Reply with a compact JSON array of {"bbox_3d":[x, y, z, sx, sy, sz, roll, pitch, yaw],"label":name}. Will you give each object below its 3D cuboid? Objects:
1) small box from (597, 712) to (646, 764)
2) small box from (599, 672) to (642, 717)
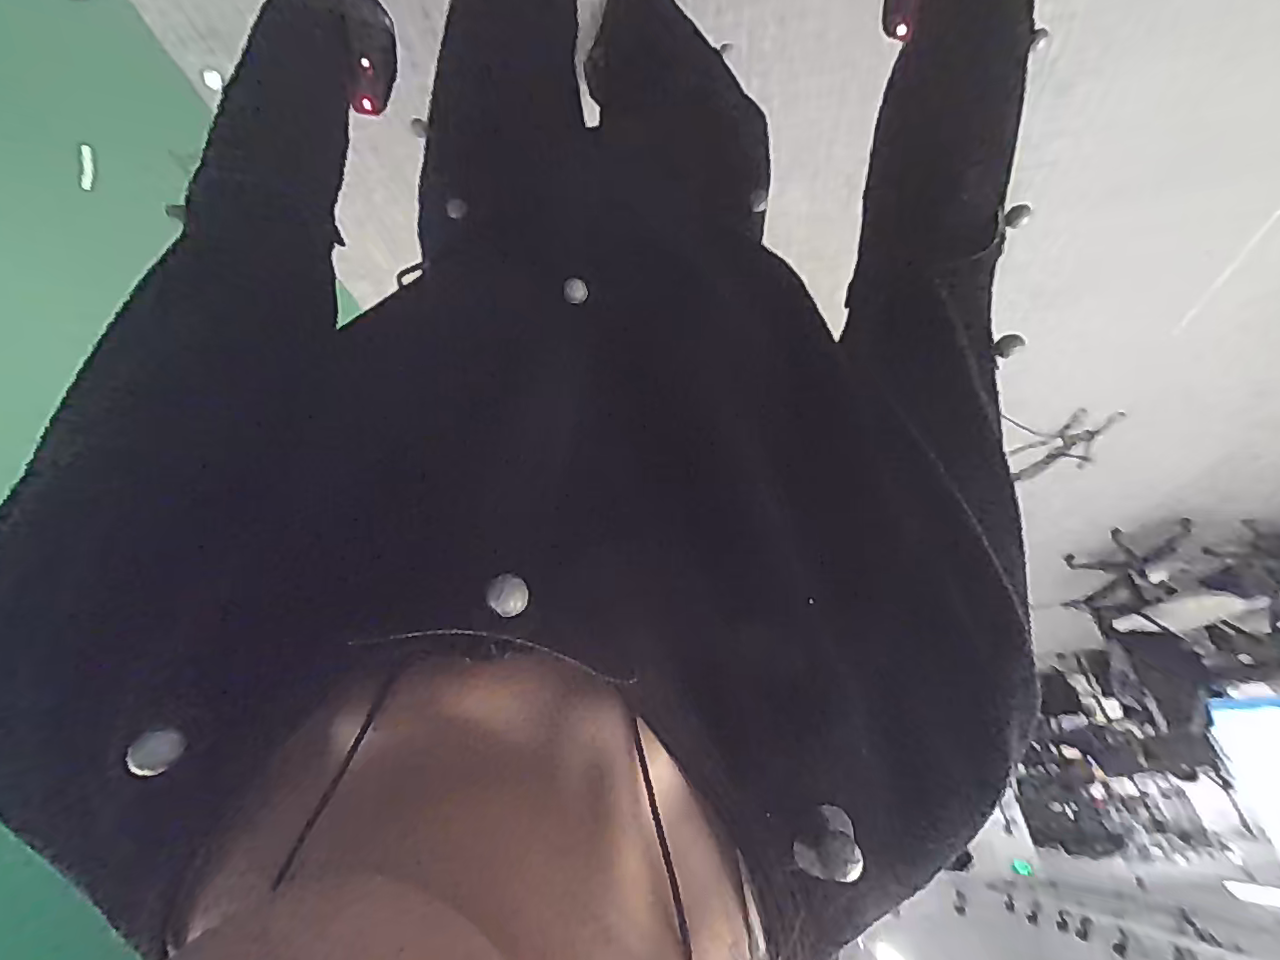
[{"bbox_3d":[-0.074,1.055,2.211,0.179,0.176,0.168,-7,148,1],"label":"small box"},{"bbox_3d":[-0.085,0.933,2.323,0.179,0.176,0.168,-4,149,-4],"label":"small box"}]
